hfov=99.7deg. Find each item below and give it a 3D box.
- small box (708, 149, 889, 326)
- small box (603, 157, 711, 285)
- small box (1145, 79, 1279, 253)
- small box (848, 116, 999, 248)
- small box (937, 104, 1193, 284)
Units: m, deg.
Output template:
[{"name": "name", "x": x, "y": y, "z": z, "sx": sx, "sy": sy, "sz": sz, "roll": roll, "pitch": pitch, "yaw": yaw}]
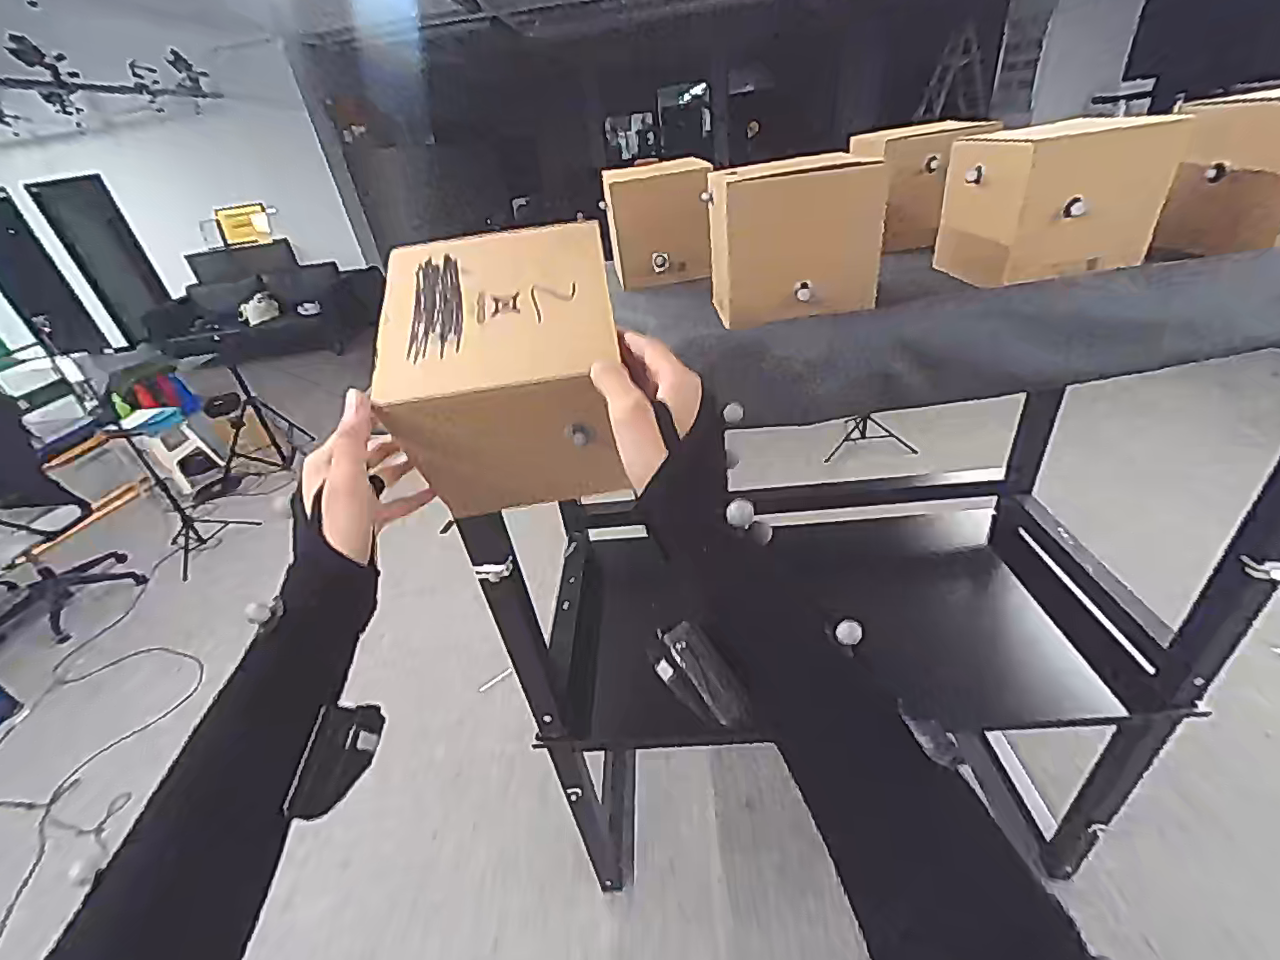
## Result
[{"name": "small box", "x": 0.180, "y": -0.302, "z": 0.671, "sx": 0.179, "sy": 0.176, "sz": 0.168, "roll": -5, "pitch": 31, "yaw": 3}, {"name": "small box", "x": 0.031, "y": -0.446, "z": 0.930, "sx": 0.168, "sy": 0.176, "sz": 0.179, "roll": -10, "pitch": 33, "yaw": -1}, {"name": "small box", "x": 0.774, "y": -0.377, "z": 0.645, "sx": 0.168, "sy": 0.176, "sz": 0.179, "roll": -9, "pitch": 31, "yaw": 0}, {"name": "small box", "x": 0.461, "y": -0.502, "z": 0.916, "sx": 0.179, "sy": 0.176, "sz": 0.168, "roll": -6, "pitch": 33, "yaw": 5}, {"name": "small box", "x": 0.501, "y": -0.350, "z": 0.674, "sx": 0.168, "sy": 0.176, "sz": 0.179, "roll": -7, "pitch": 32, "yaw": 3}]
